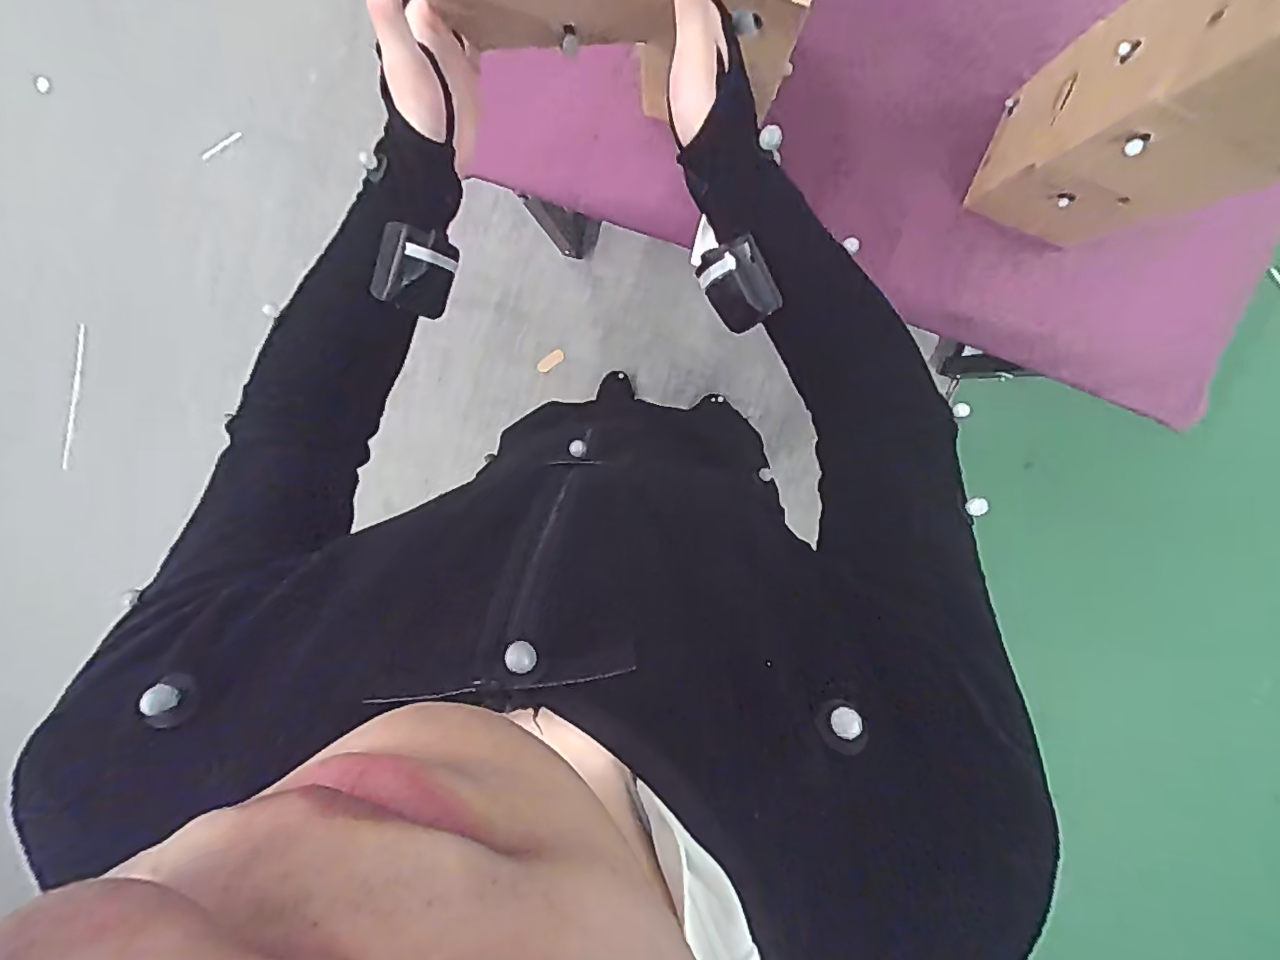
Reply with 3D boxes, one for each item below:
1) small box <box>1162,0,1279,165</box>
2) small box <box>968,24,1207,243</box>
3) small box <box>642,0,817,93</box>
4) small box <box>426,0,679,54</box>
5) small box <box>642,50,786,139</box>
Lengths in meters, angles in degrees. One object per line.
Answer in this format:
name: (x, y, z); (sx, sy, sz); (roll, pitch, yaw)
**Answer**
small box: (0.569, -0.366, 0.402); (0.179, 0.176, 0.168); (23, 101, -2)
small box: (0.587, -0.440, 0.721); (0.179, 0.176, 0.168); (21, 100, -2)
small box: (0.102, -0.544, 0.557); (0.179, 0.176, 0.168); (18, 100, -1)
small box: (-0.059, -0.407, 0.354); (0.179, 0.176, 0.168); (-1, 113, 3)
small box: (0.111, -0.587, 0.717); (0.179, 0.176, 0.168); (16, 101, 0)
